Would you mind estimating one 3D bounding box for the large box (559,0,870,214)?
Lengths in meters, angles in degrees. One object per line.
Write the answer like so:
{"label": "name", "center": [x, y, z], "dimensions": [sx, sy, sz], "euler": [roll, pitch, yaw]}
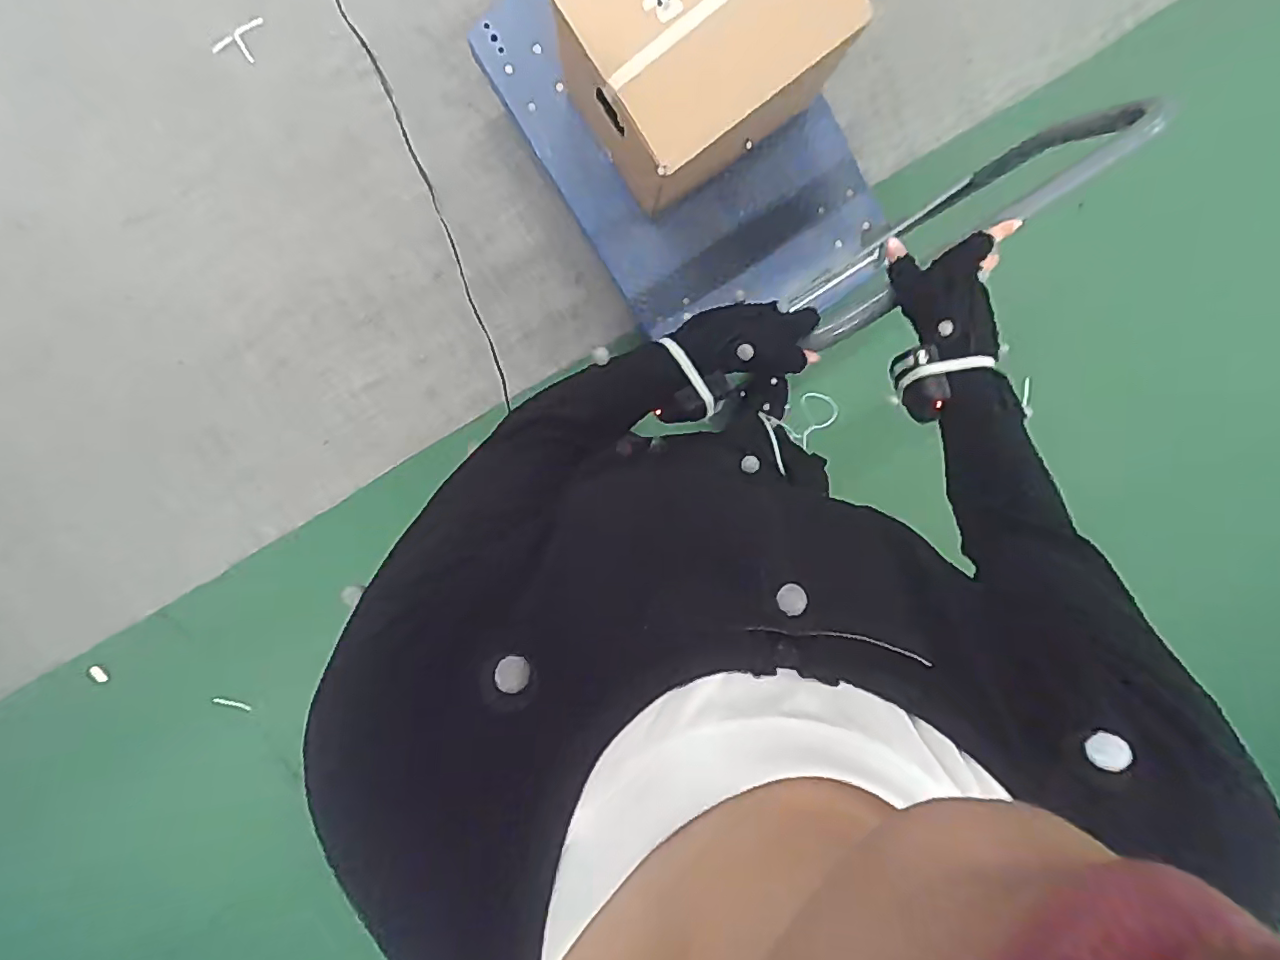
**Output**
{"label": "large box", "center": [0.112, -0.771, 0.982], "dimensions": [0.408, 0.320, 0.320], "euler": [-35, 102, 5]}
